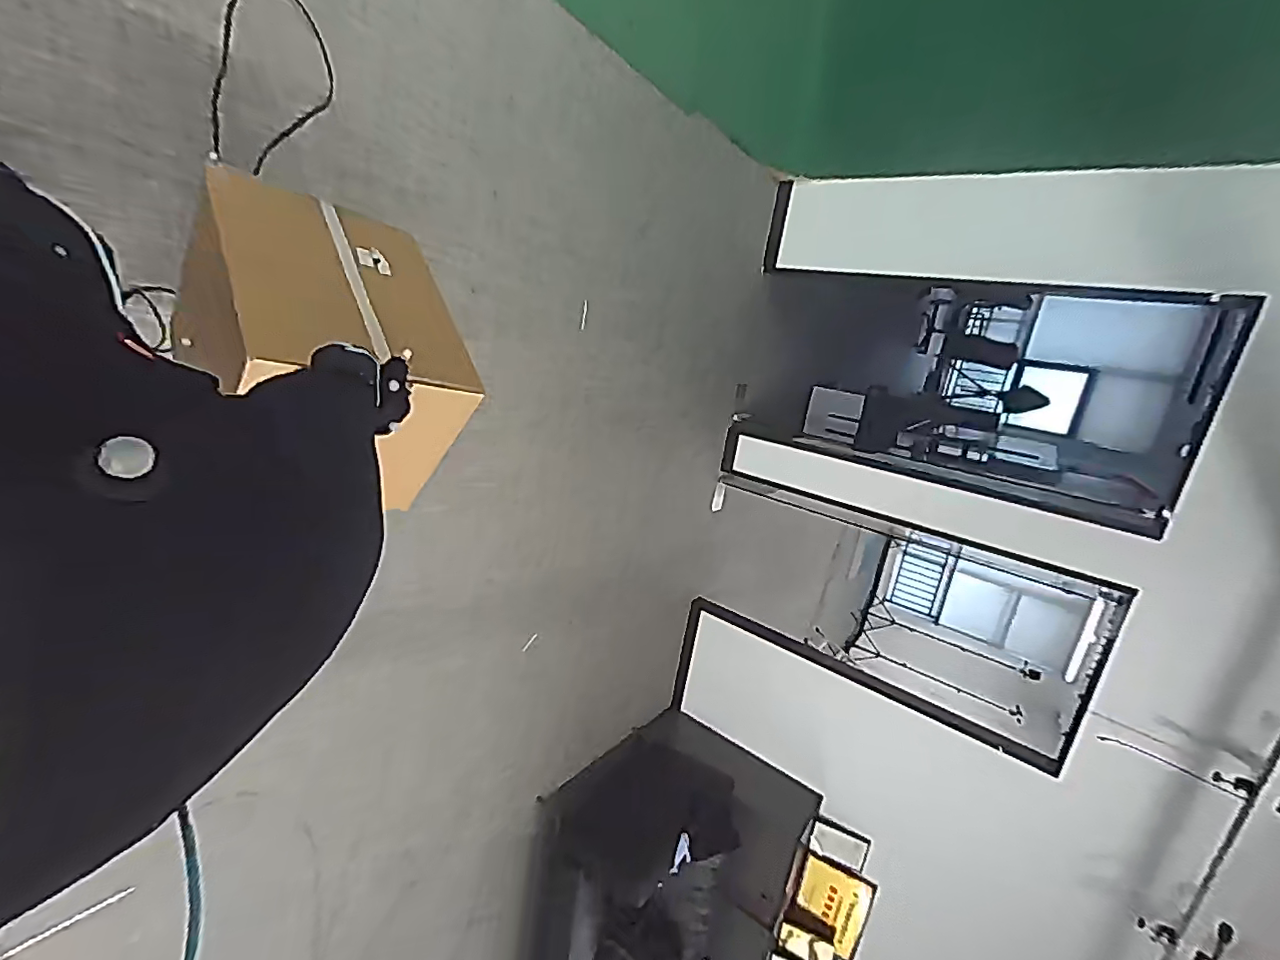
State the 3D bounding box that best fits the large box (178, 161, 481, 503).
[{"bbox_3d":[-0.525,-0.211,0.891,0.320,0.408,0.320,2,142,-49],"label":"large box"}]
